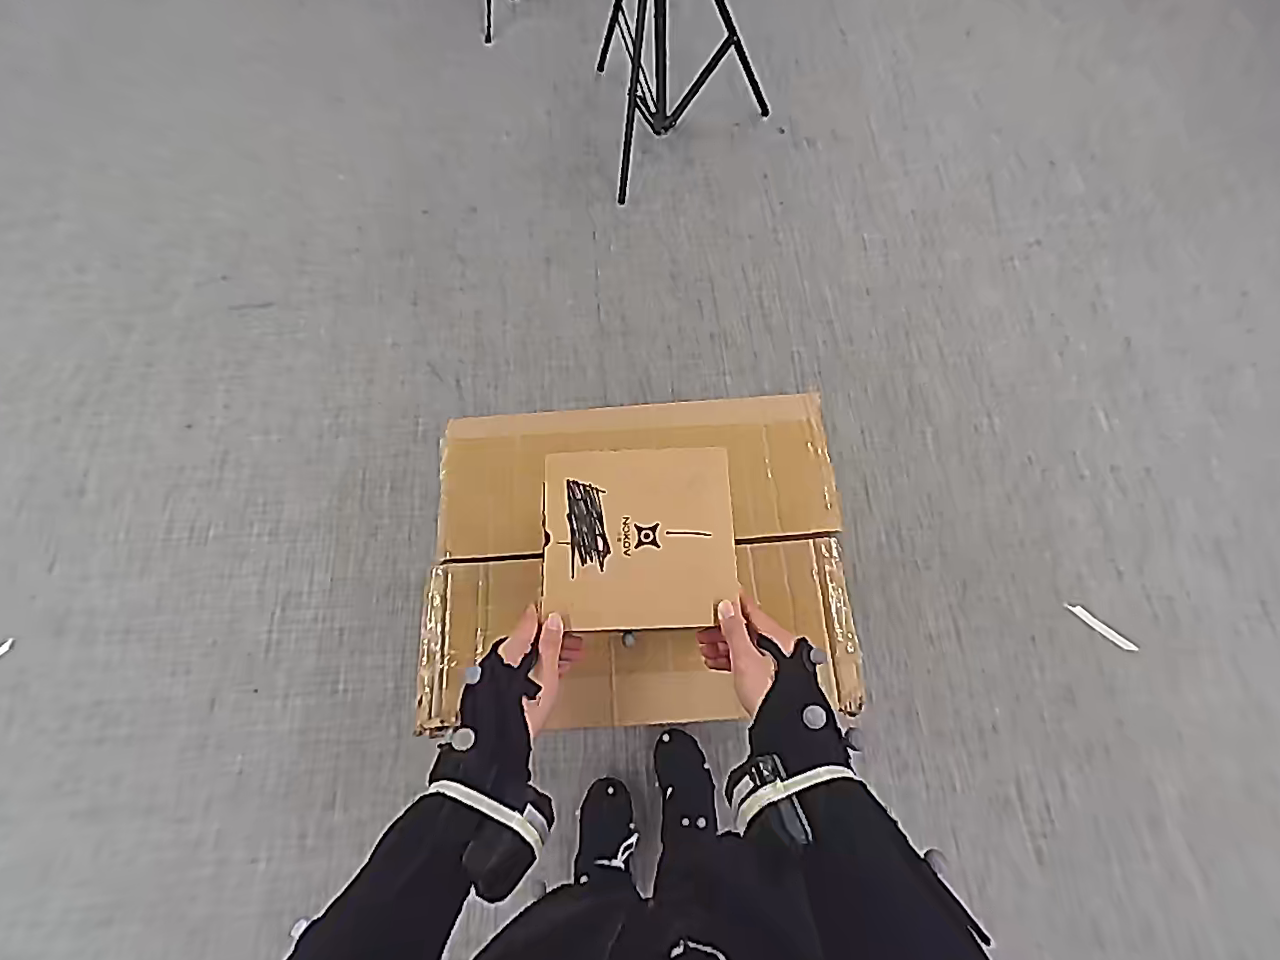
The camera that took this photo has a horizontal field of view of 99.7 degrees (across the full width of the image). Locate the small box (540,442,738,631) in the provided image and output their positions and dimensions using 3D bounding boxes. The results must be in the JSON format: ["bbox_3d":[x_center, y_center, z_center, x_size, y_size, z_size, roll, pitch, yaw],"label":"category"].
[{"bbox_3d":[0.000,0.069,0.568,0.179,0.176,0.168,-3,73,1],"label":"small box"}]
